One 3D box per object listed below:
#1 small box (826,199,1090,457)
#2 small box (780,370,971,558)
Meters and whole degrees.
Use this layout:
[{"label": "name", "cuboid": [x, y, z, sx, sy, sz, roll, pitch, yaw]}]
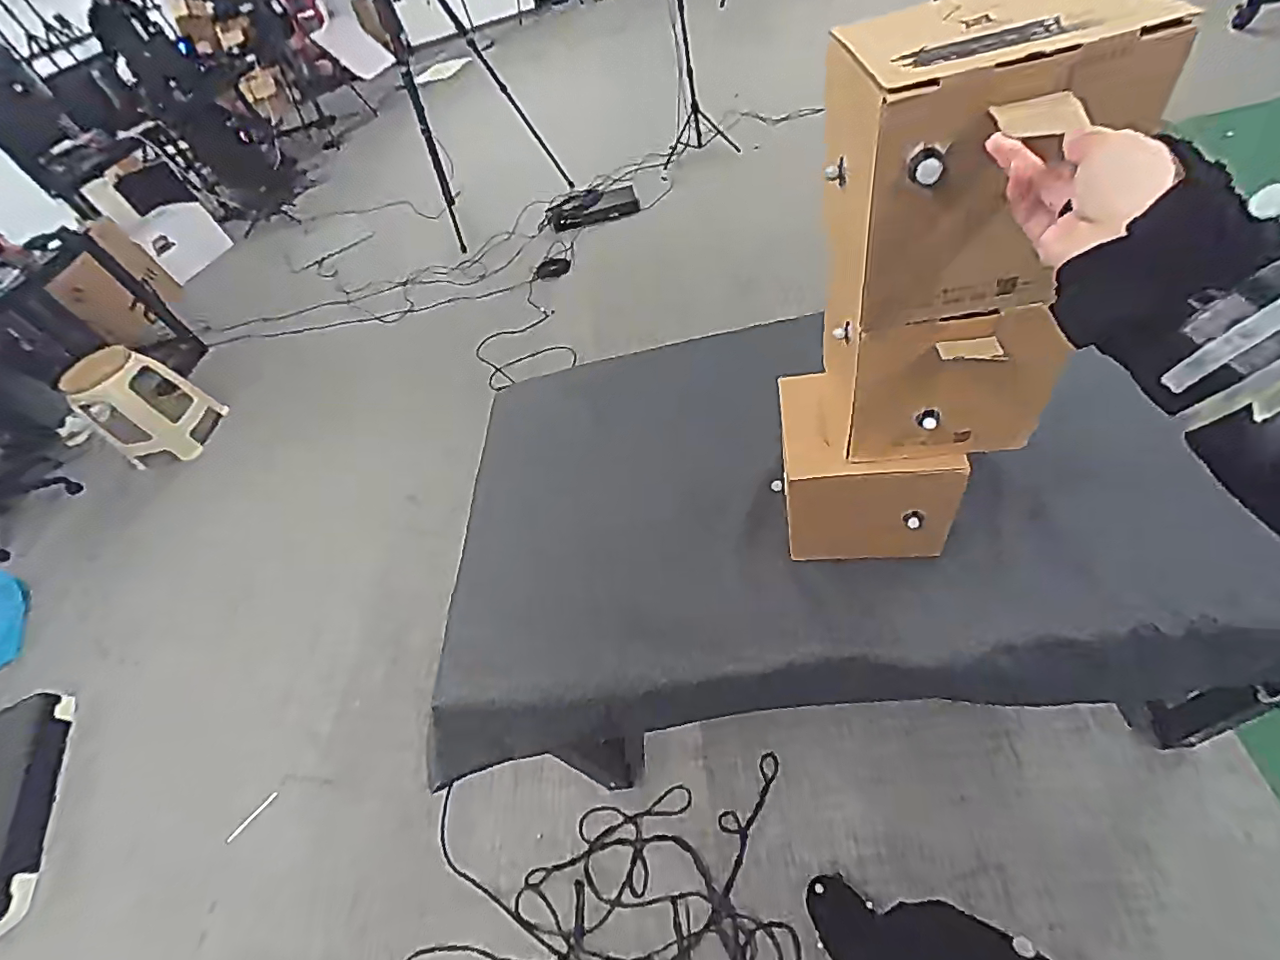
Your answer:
[{"label": "small box", "cuboid": [0.283, -0.145, 0.536, 0.168, 0.176, 0.179, -5, 50, 12]}, {"label": "small box", "cuboid": [0.265, -0.018, 0.653, 0.179, 0.176, 0.168, -5, 50, 15]}]
